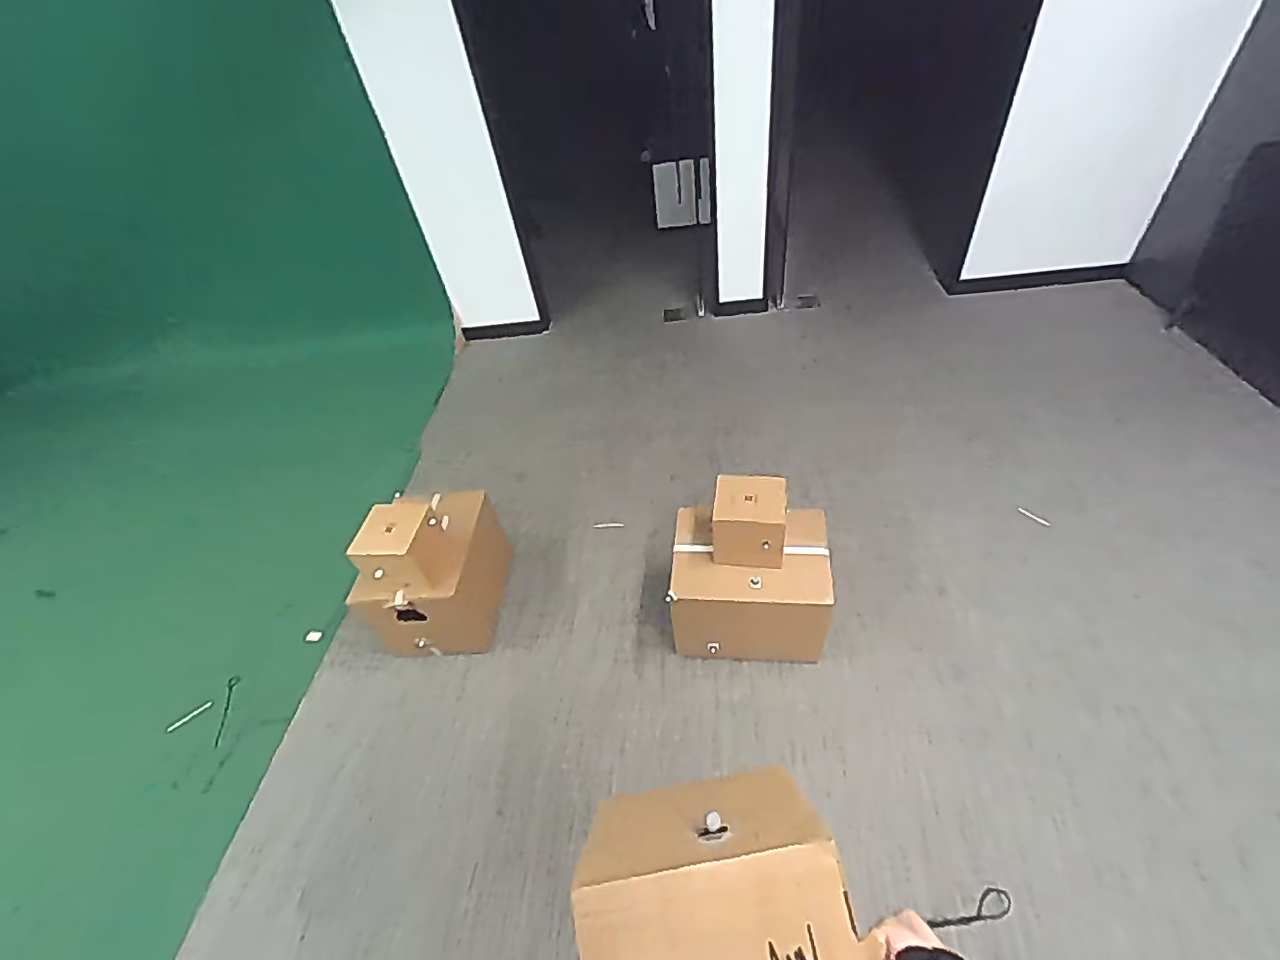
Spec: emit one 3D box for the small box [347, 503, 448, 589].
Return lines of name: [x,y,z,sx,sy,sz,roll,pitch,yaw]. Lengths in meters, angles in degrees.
small box: [-0.649,0.183,1.475,0.168,0.176,0.179,-1,44,7]

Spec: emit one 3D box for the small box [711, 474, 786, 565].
small box: [0.280,0.103,1.395,0.179,0.176,0.168,2,43,12]

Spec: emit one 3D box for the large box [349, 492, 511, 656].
large box: [-0.632,0.295,1.709,0.320,0.320,0.408,-4,44,6]
